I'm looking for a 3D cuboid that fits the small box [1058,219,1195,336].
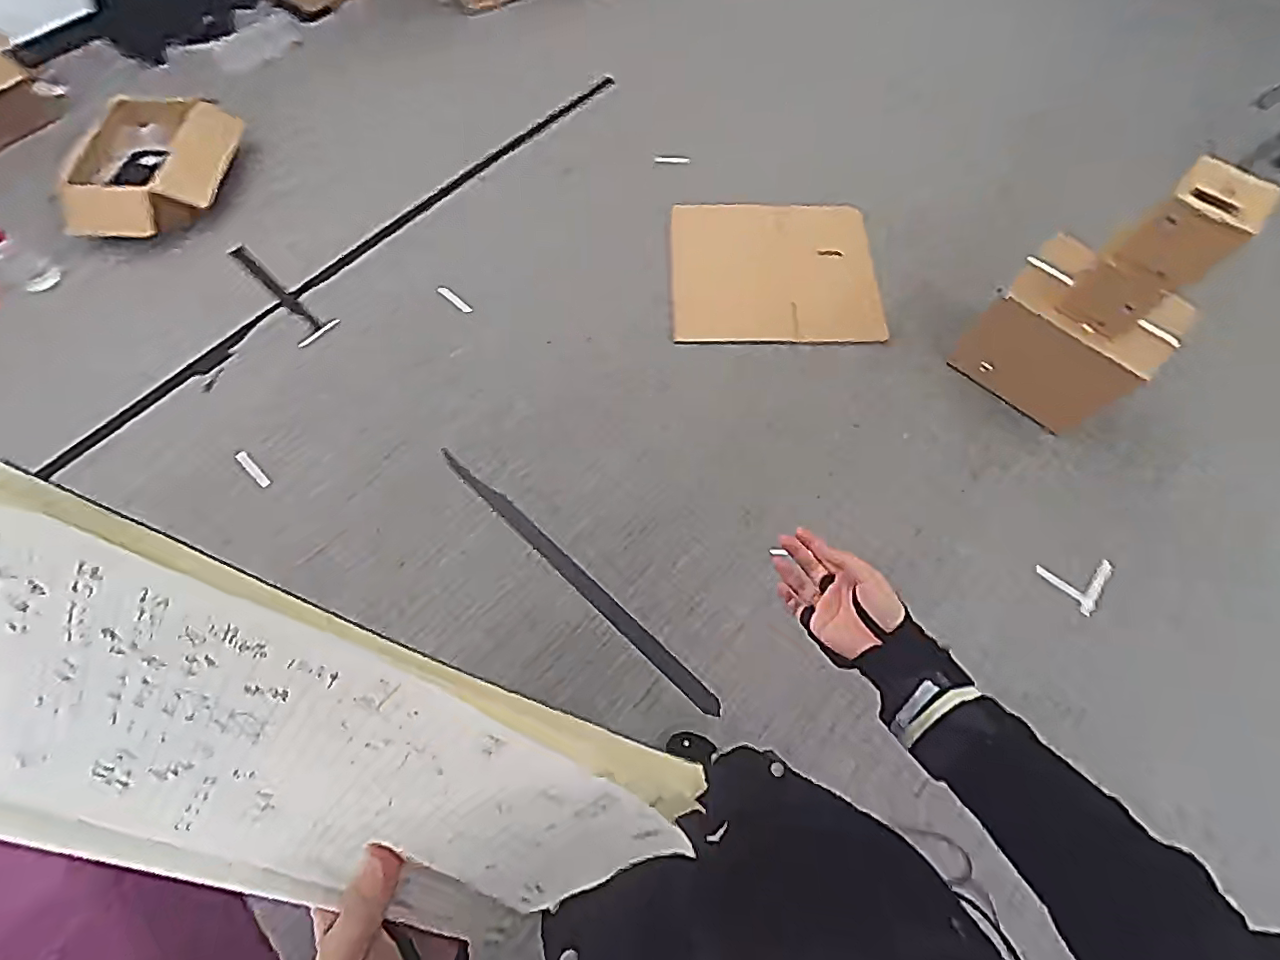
[{"bbox_3d":[1.188,-0.493,1.335,0.168,0.176,0.179,36,71,13],"label":"small box"}]
